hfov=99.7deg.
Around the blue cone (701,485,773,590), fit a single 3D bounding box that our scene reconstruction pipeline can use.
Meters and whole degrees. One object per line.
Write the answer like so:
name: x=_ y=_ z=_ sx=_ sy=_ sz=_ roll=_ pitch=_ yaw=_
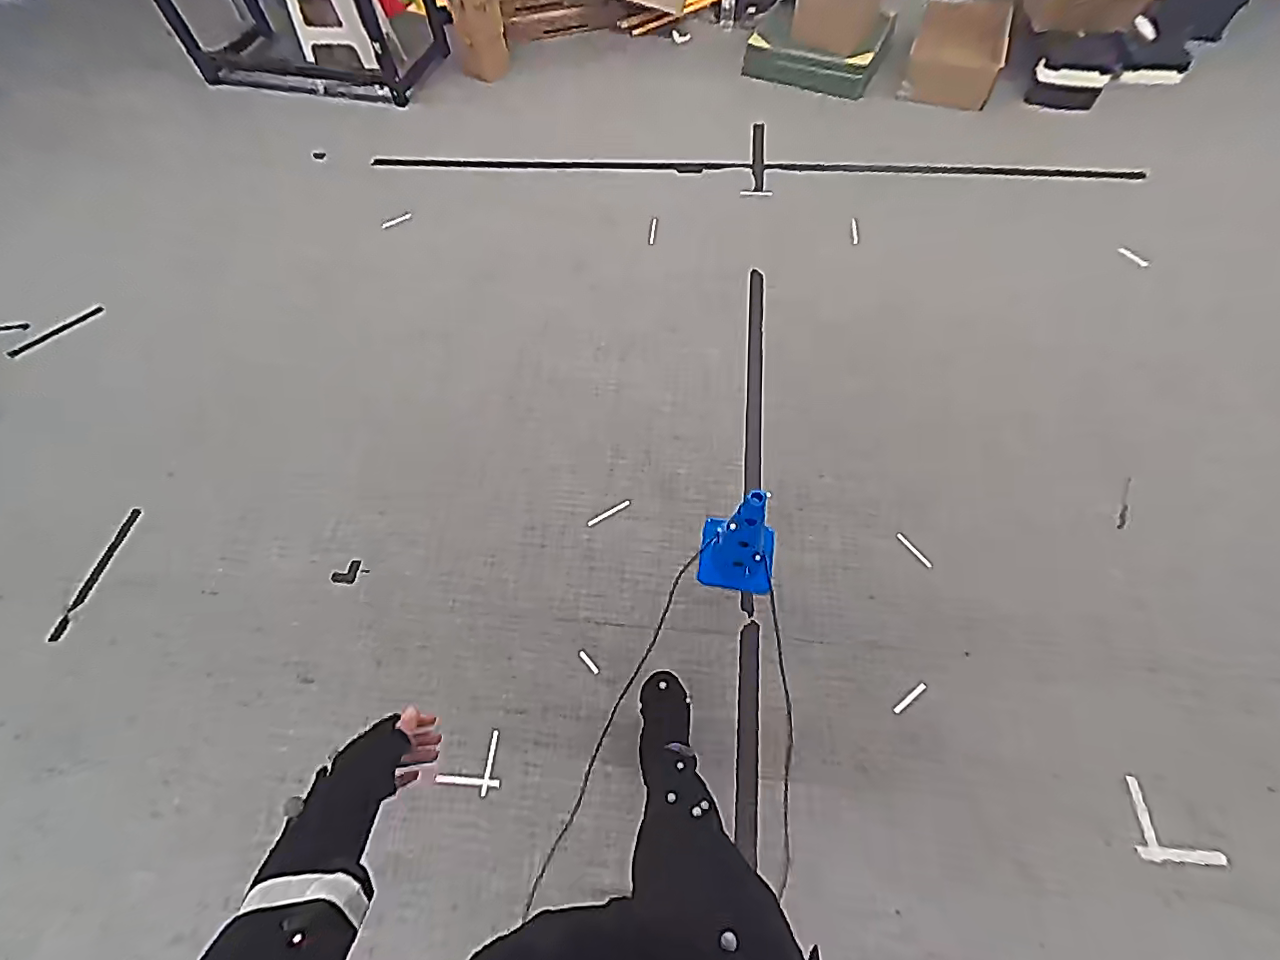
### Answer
blue cone: x=0.258 y=0.125 z=1.335 sx=0.193 sy=0.380 sz=0.192 roll=7 pitch=62 yaw=7
